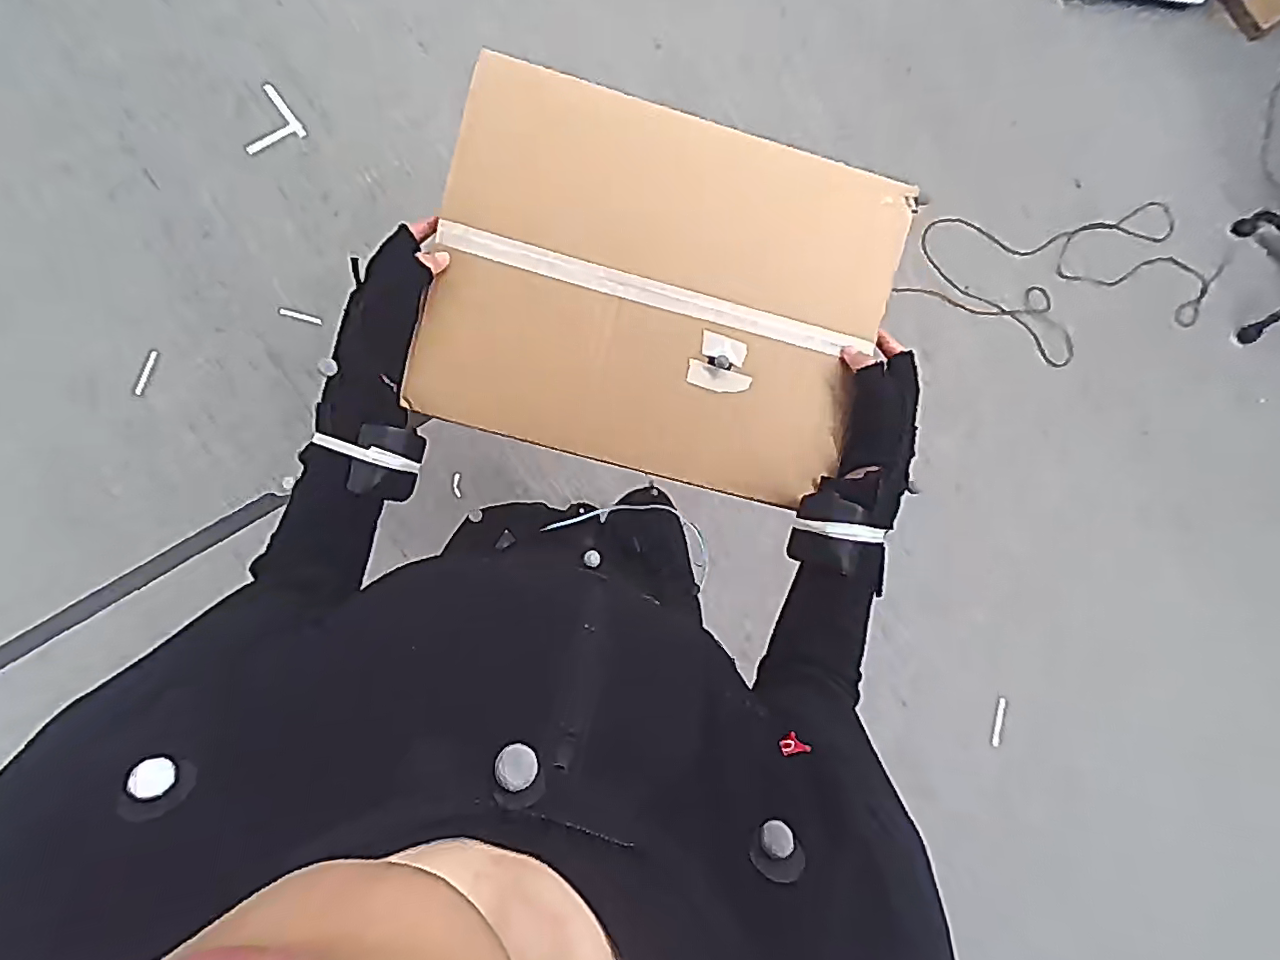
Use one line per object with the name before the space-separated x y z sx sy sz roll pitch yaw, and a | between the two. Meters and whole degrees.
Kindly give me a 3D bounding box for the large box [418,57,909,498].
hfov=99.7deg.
large box | 0.012 -0.188 0.644 0.408 0.320 0.320 15 95 -6
